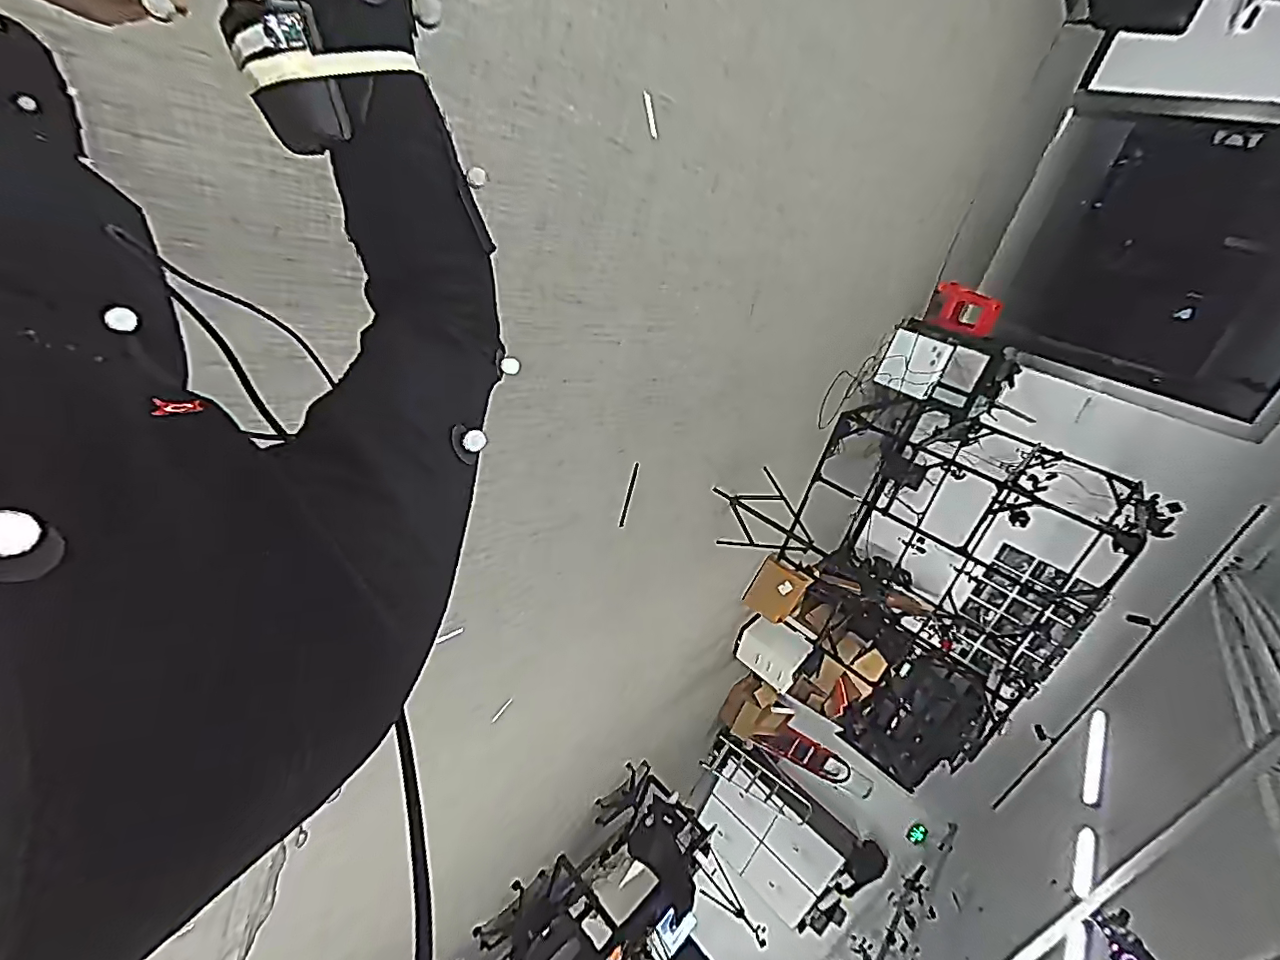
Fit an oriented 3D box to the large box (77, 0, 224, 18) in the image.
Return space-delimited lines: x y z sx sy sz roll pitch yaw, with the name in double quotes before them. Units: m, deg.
"large box" -0.354 -0.468 0.172 0.320 0.320 0.408 -5 122 -48
